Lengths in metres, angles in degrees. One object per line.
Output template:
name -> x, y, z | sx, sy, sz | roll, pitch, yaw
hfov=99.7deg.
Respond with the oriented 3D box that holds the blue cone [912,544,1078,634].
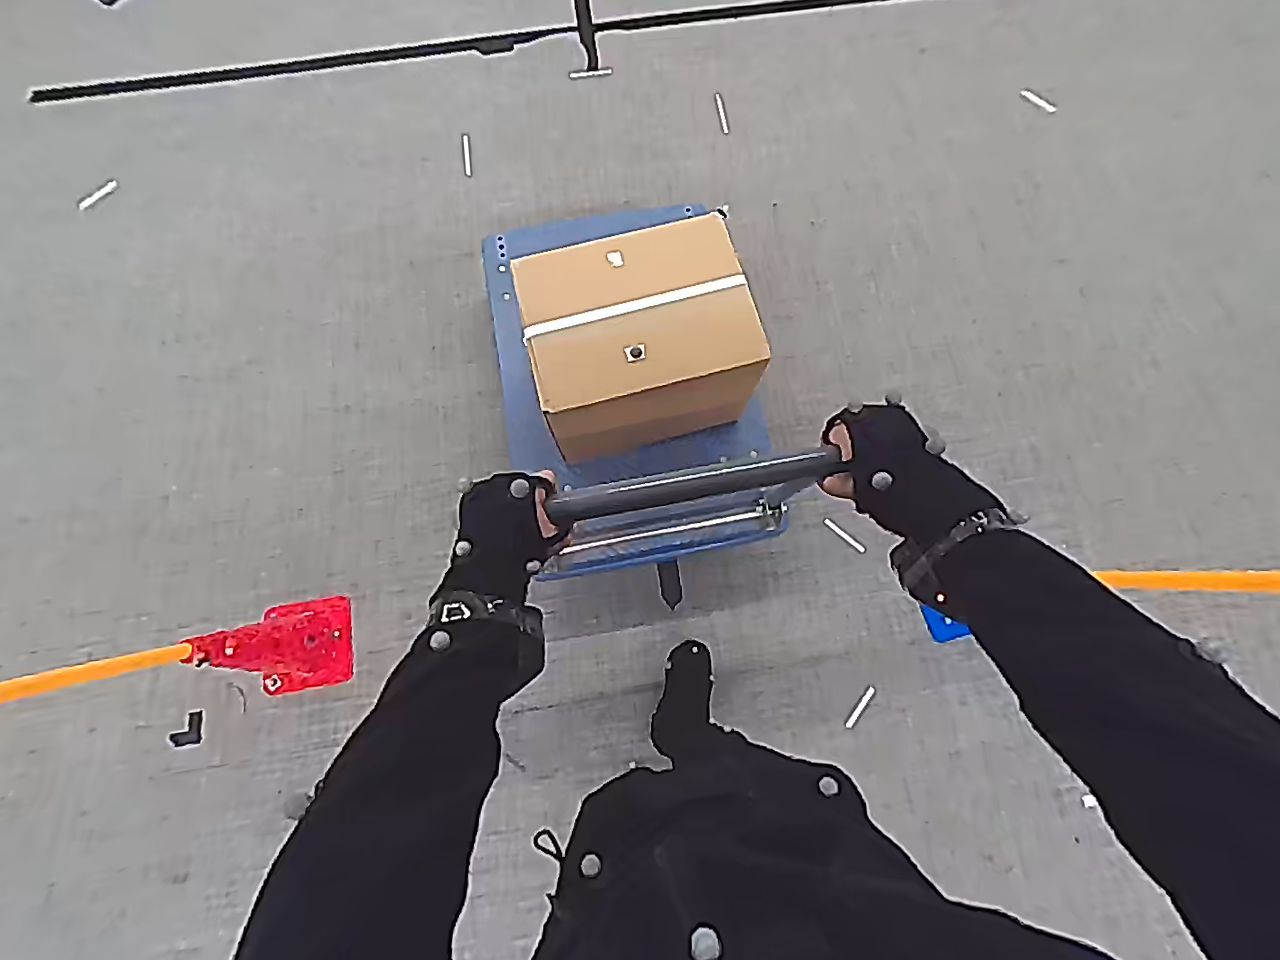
blue cone -> 0.770, 0.217, 1.142 | 0.193, 0.380, 0.192 | -12, 74, -4
